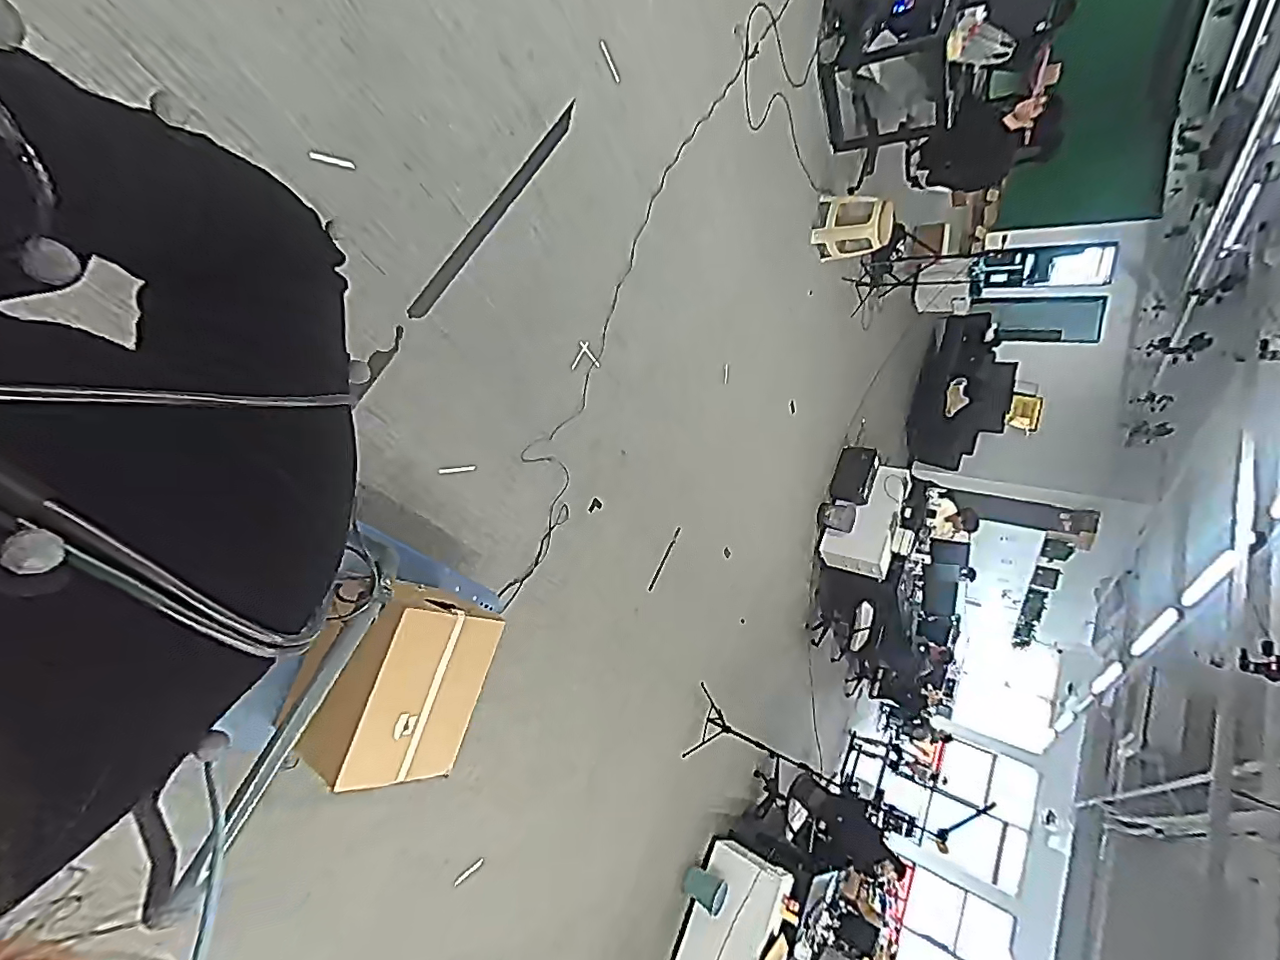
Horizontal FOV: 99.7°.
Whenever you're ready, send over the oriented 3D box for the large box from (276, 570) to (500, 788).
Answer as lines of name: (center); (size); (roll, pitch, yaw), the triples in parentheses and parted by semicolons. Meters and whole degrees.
large box: (-0.624, 0.476, 1.363); (0.320, 0.320, 0.408); (31, 75, -52)
